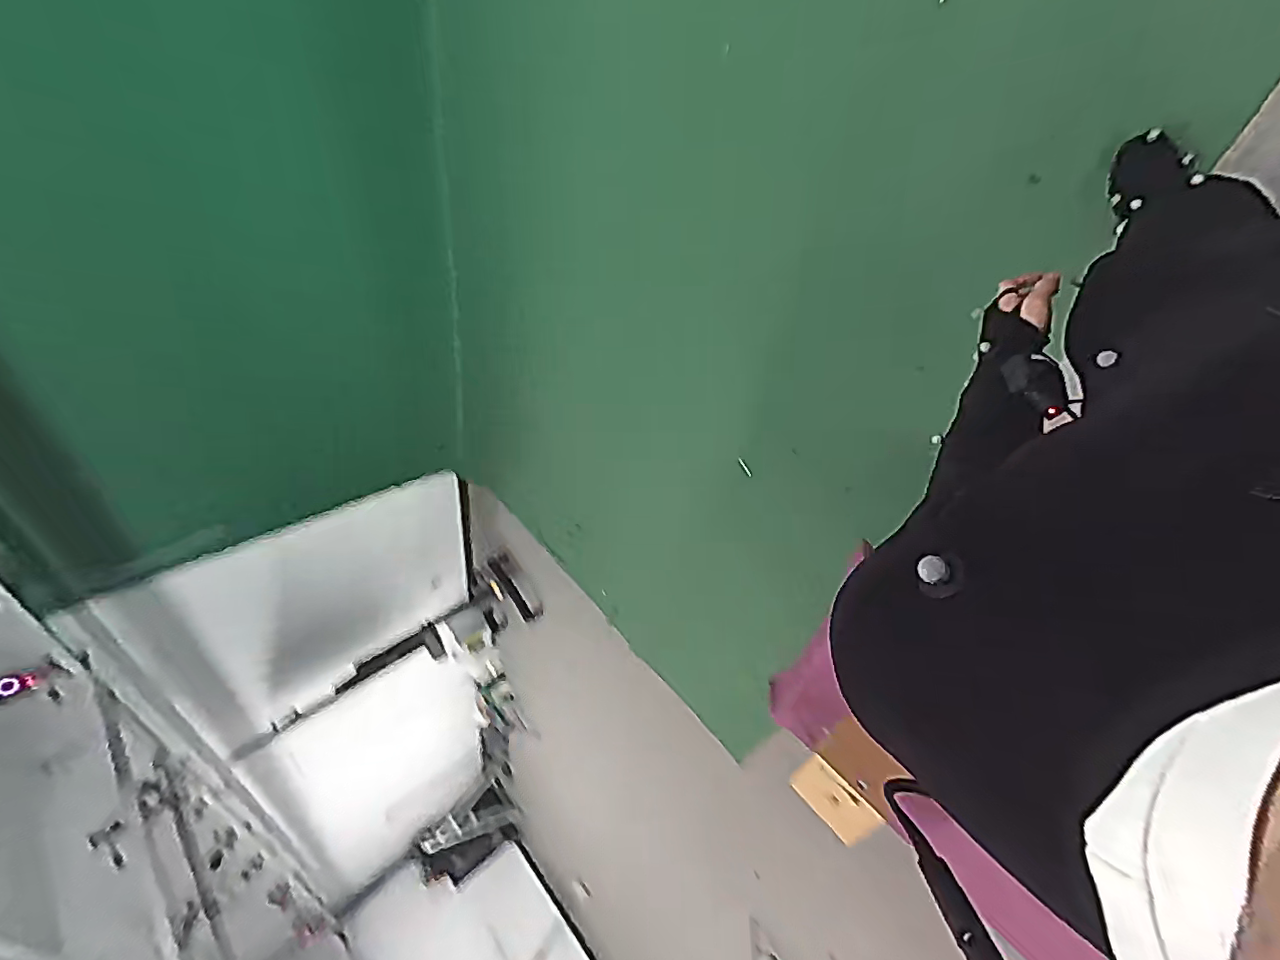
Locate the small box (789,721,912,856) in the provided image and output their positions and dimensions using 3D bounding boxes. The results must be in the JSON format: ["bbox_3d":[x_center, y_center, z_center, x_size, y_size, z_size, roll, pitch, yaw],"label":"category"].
[{"bbox_3d":[0.468,0.681,1.203,0.168,0.176,0.179,40,137,28],"label":"small box"}]
